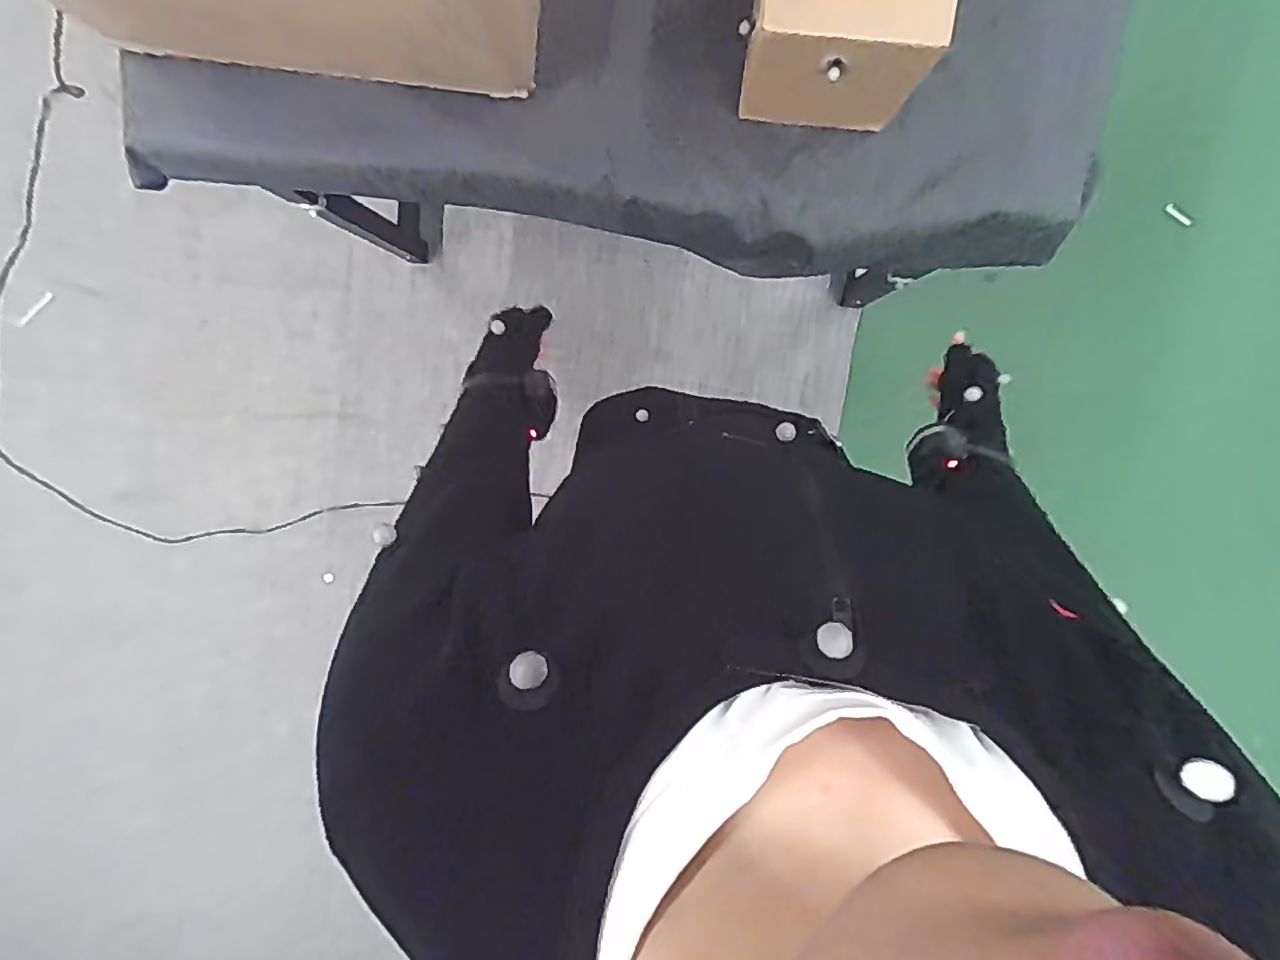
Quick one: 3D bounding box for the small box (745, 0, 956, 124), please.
[{"bbox_3d":[0.213,-0.505,0.568,0.179,0.176,0.168,7,100,2],"label":"small box"}]
